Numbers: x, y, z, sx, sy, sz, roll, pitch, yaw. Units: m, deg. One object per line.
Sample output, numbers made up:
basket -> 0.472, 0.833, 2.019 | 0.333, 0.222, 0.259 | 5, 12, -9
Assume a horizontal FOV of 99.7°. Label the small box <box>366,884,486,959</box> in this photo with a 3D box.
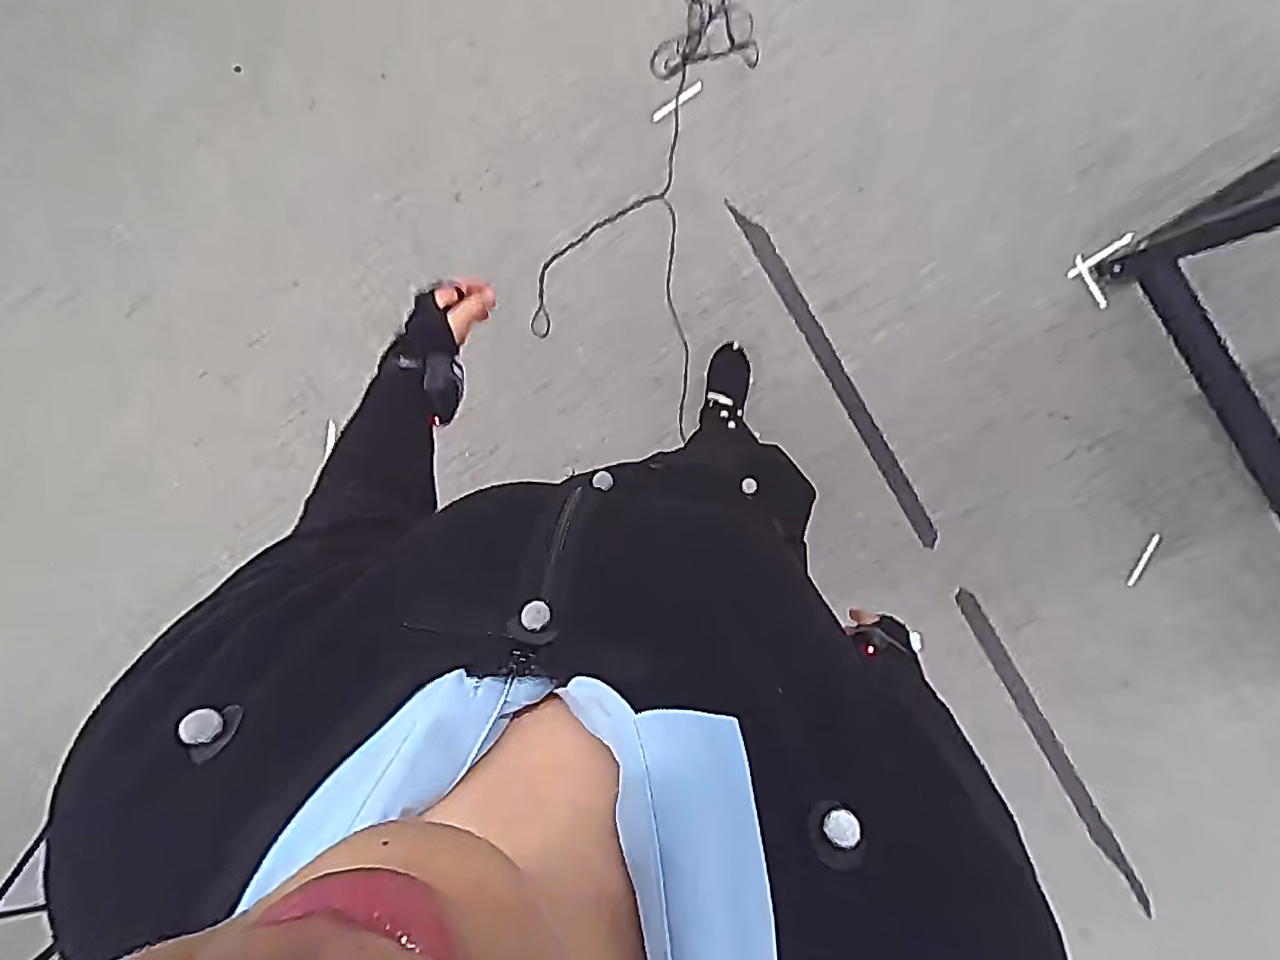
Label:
small box -> -0.491, 1.097, 1.257 | 0.179, 0.176, 0.168 | -25, 94, 9
